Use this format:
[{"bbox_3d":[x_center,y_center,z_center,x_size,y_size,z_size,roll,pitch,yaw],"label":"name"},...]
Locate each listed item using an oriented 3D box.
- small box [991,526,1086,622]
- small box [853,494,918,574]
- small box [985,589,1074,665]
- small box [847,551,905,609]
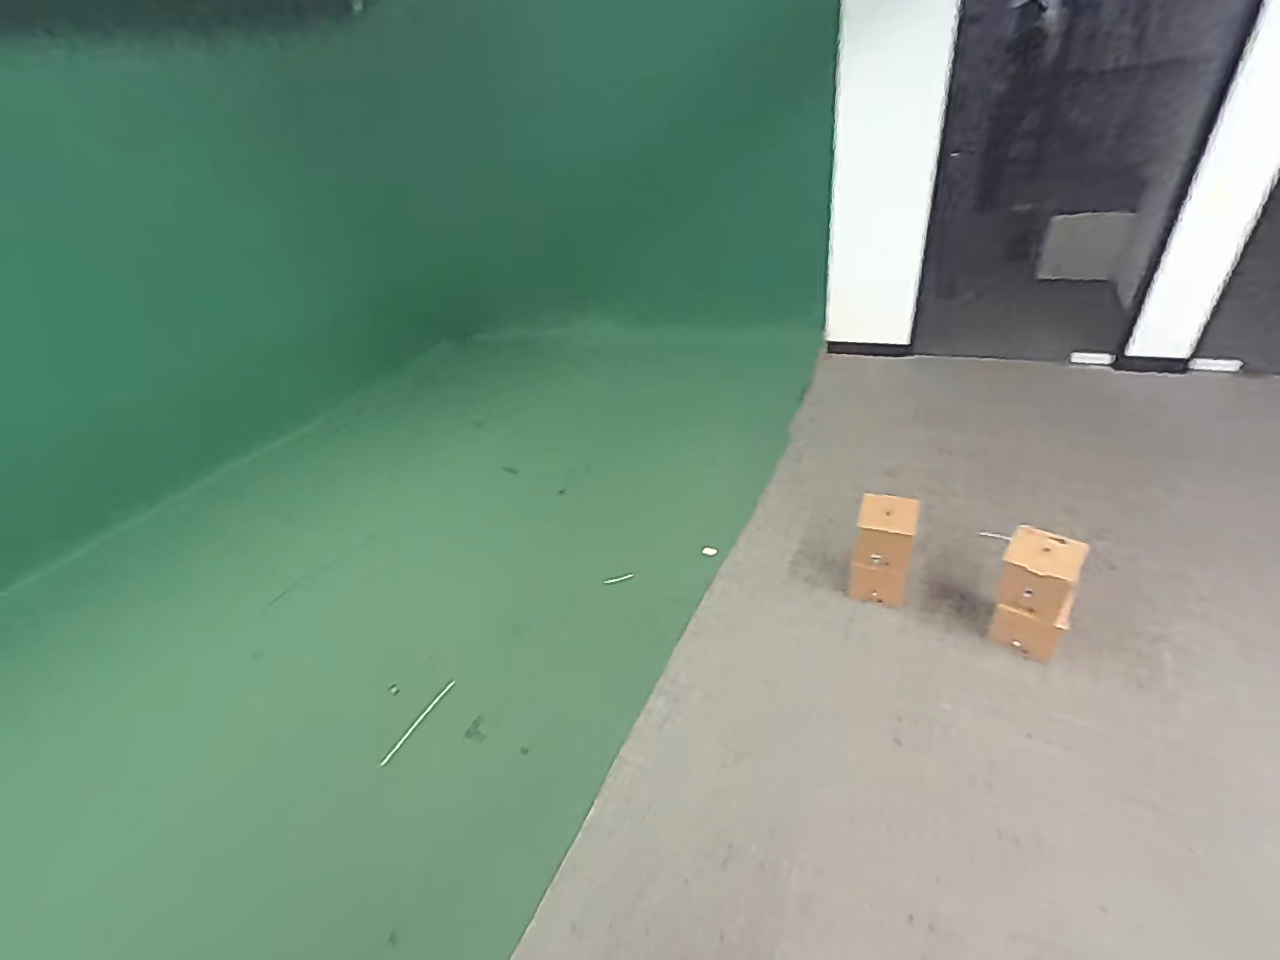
[{"bbox_3d":[1.119,0.267,1.528,0.168,0.176,0.179,23,48,38],"label":"small box"},{"bbox_3d":[0.789,0.174,1.741,0.168,0.176,0.179,8,40,25],"label":"small box"},{"bbox_3d":[1.153,0.408,1.607,0.168,0.176,0.179,19,46,35],"label":"small box"},{"bbox_3d":[0.805,0.304,1.835,0.168,0.176,0.179,9,40,24],"label":"small box"}]
